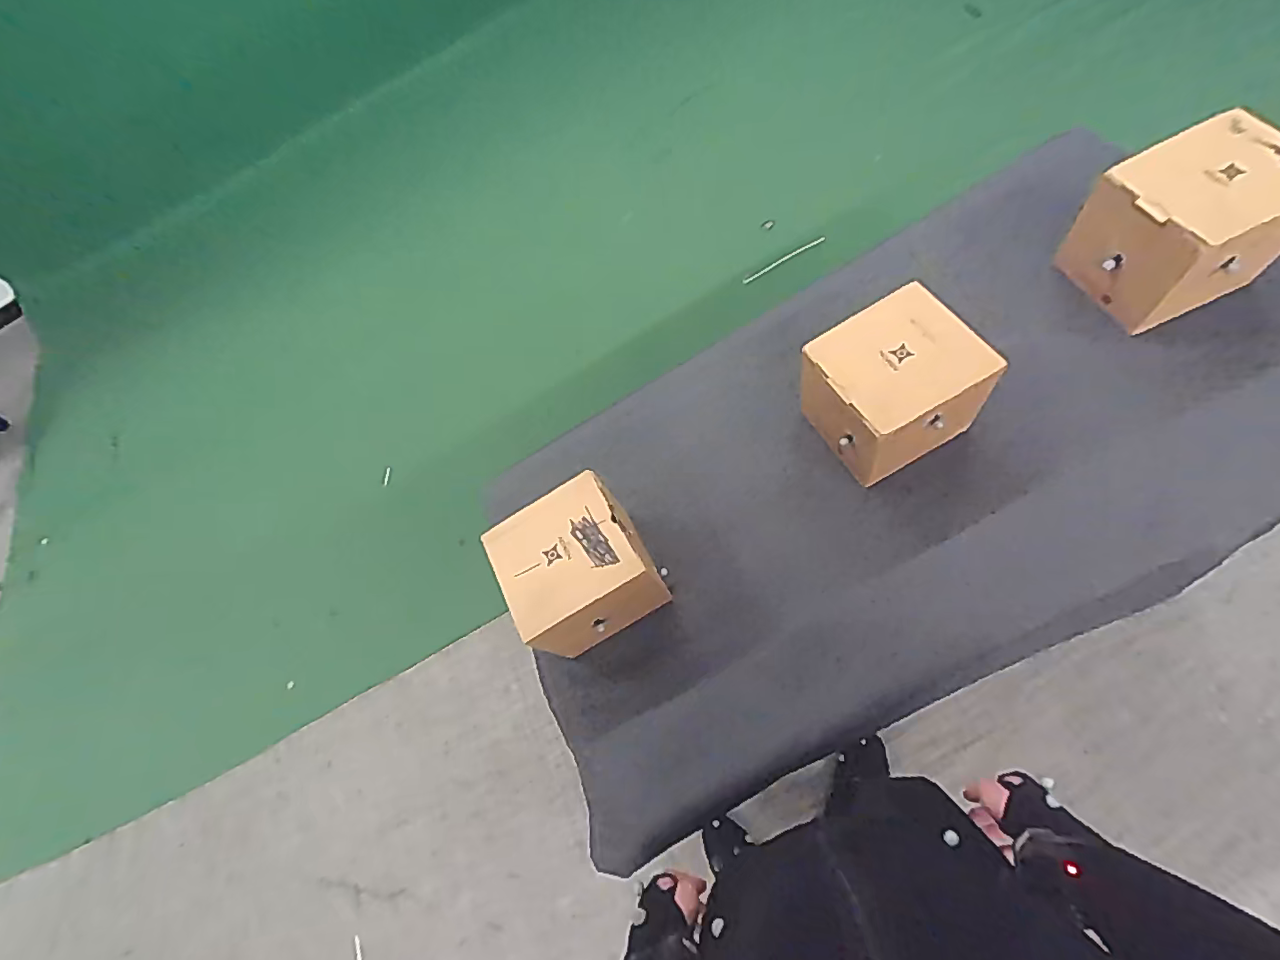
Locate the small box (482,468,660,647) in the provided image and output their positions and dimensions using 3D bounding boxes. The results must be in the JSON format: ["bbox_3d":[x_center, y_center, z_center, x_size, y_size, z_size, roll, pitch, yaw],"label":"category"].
[{"bbox_3d":[-0.085,0.116,0.759,0.179,0.176,0.168,-31,63,2],"label":"small box"}]

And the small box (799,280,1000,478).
[{"bbox_3d":[0.339,-0.129,0.748,0.179,0.176,0.168,-30,65,0],"label":"small box"}]

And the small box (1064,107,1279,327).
[{"bbox_3d":[0.721,-0.339,0.726,0.179,0.176,0.168,-24,64,5],"label":"small box"}]
